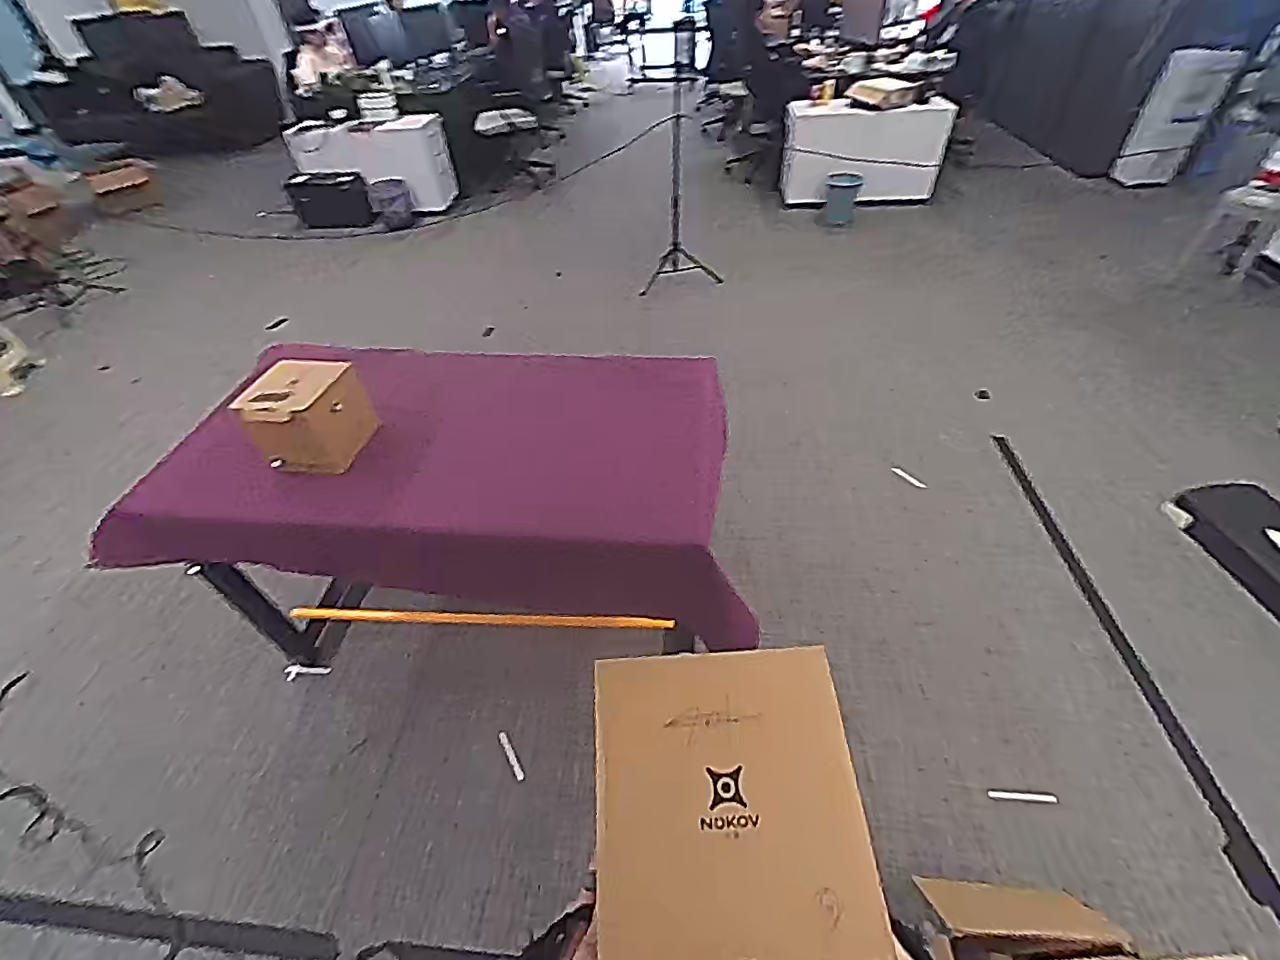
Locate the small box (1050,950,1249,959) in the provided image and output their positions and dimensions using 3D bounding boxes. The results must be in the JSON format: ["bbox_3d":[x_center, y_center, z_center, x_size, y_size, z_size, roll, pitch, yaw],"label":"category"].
[{"bbox_3d":[0.602,0.648,0.606,0.168,0.176,0.179,-7,49,3],"label":"small box"}]

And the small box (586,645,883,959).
[{"bbox_3d":[0.050,0.236,0.404,0.168,0.176,0.179,-3,57,-2],"label":"small box"}]

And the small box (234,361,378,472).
[{"bbox_3d":[-0.695,-0.134,1.154,0.168,0.176,0.179,4,45,7],"label":"small box"}]
